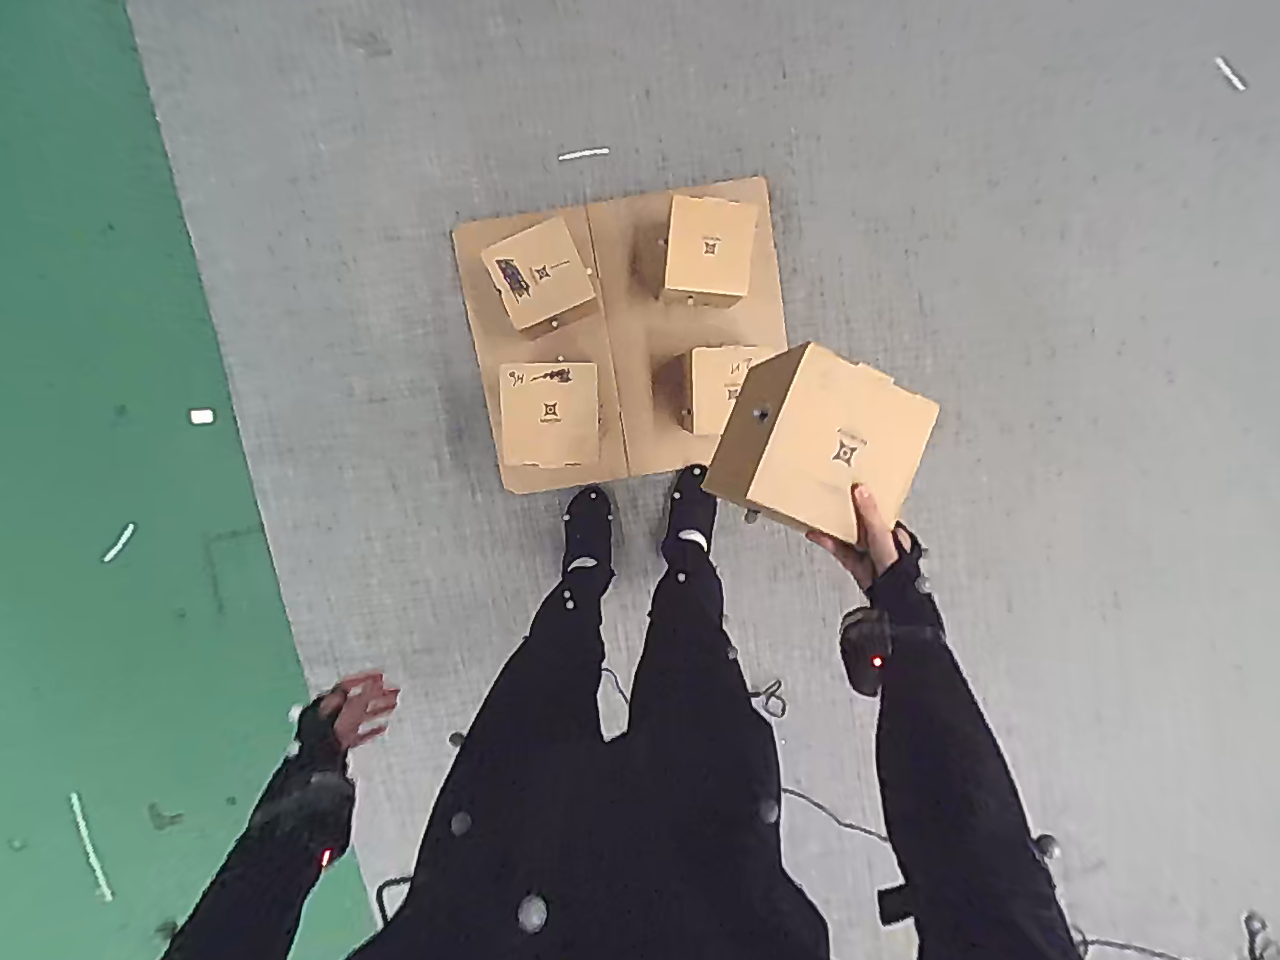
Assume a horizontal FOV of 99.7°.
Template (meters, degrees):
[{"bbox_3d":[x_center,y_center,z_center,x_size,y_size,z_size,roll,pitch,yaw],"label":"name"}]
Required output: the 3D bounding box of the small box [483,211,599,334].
[{"bbox_3d":[-0.193,-0.415,1.114,0.179,0.176,0.168,-23,99,1],"label":"small box"}]

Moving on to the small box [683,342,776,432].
[{"bbox_3d":[0.185,-0.198,1.154,0.168,0.176,0.179,-2,99,-2],"label":"small box"}]

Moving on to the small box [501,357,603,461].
[{"bbox_3d":[-0.153,-0.132,0.992,0.168,0.176,0.179,0,99,-3],"label":"small box"}]

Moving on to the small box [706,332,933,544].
[{"bbox_3d":[0.196,-0.044,0.641,0.168,0.176,0.179,23,87,-9],"label":"small box"}]
